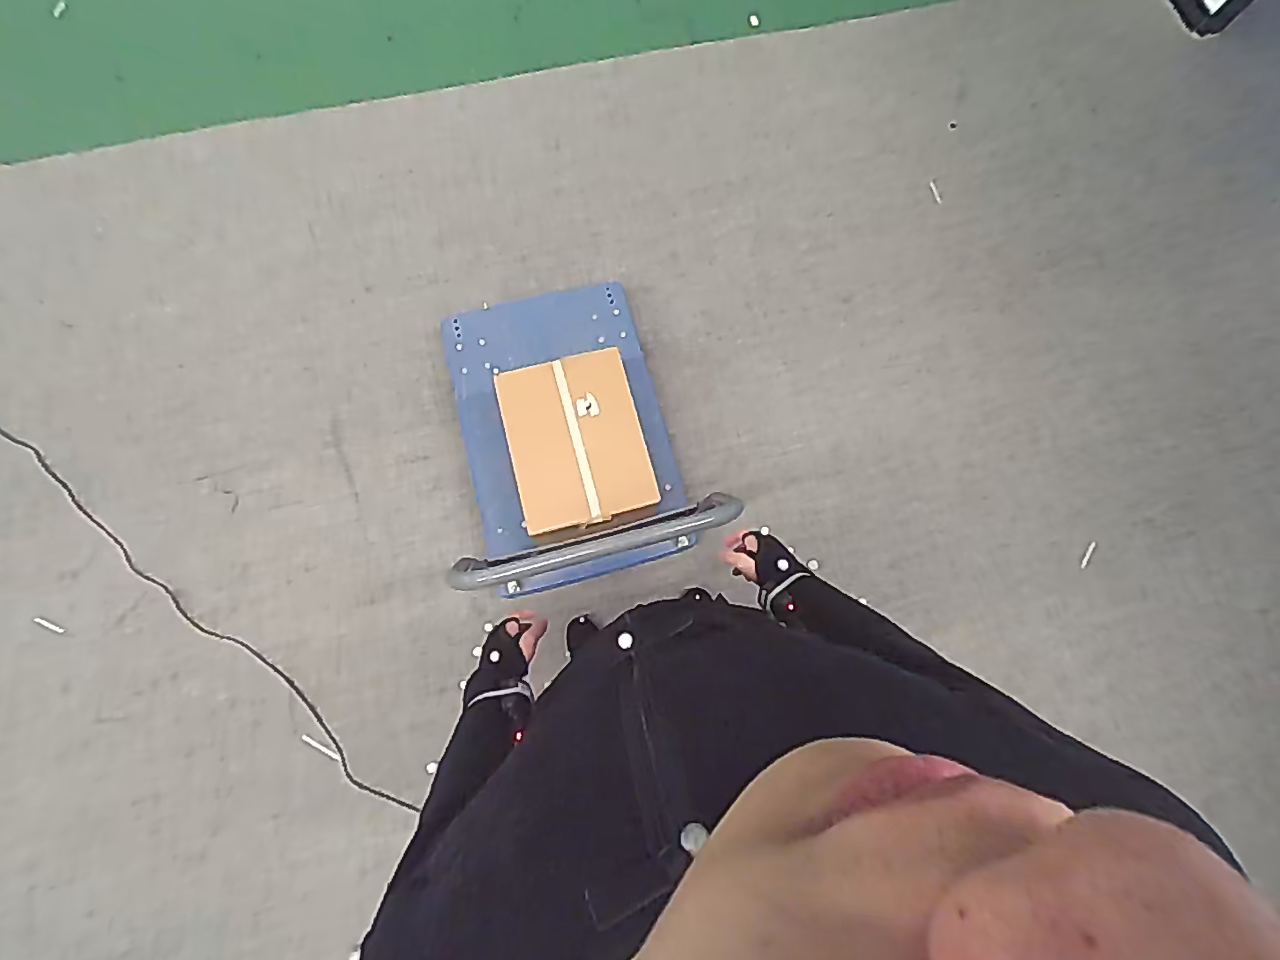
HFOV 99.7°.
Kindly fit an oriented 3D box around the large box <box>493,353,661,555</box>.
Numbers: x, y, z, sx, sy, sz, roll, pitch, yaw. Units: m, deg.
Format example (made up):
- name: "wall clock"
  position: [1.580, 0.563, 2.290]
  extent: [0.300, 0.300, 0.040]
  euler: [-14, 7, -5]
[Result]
- name: "large box"
  position: [-0.157, -0.053, 1.410]
  extent: [0.320, 0.320, 0.408]
  euler: [-15, 76, -7]
